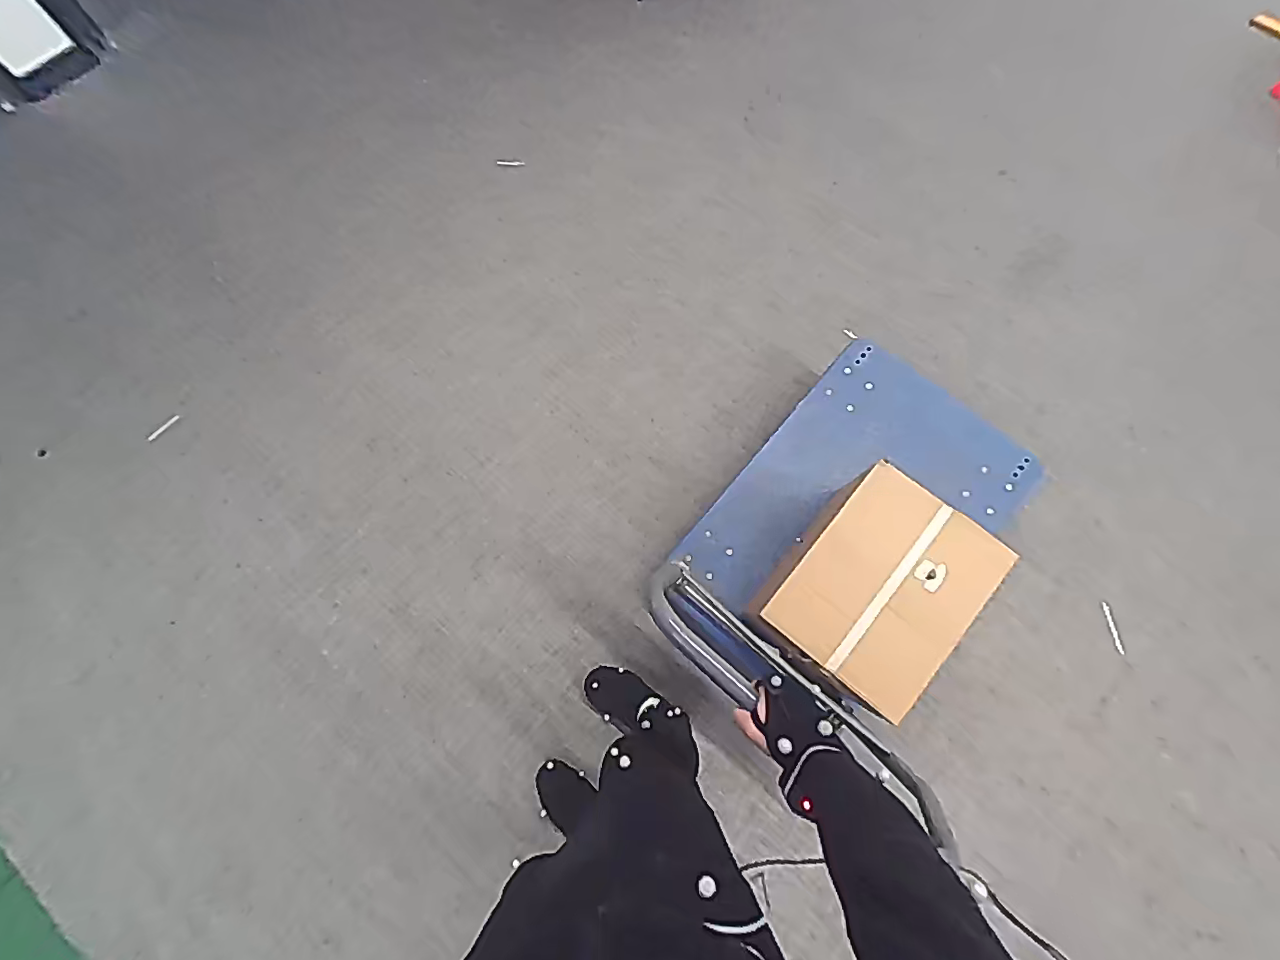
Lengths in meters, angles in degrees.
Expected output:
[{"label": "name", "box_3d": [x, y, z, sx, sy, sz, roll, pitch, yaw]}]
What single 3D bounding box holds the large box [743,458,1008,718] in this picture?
[{"label": "large box", "box_3d": [0.477, 0.230, 1.181, 0.320, 0.320, 0.408, 39, 82, 10]}]
